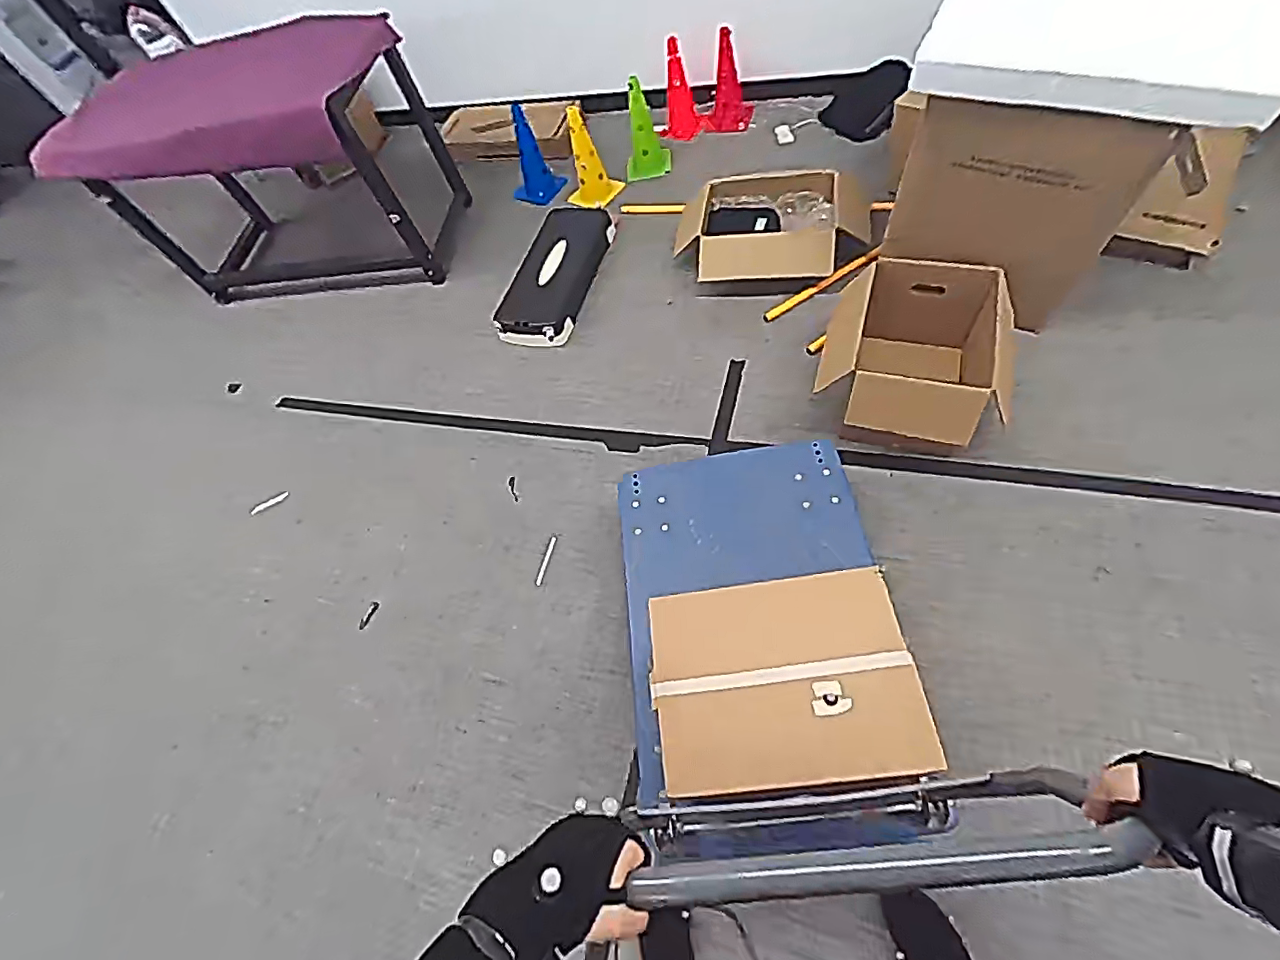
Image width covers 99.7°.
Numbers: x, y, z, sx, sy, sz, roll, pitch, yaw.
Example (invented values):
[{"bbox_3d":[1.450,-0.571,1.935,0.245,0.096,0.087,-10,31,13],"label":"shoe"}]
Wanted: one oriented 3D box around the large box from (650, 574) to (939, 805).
[{"bbox_3d":[0.247,0.398,0.994,0.408,0.320,0.320,-9,59,6],"label":"large box"}]
